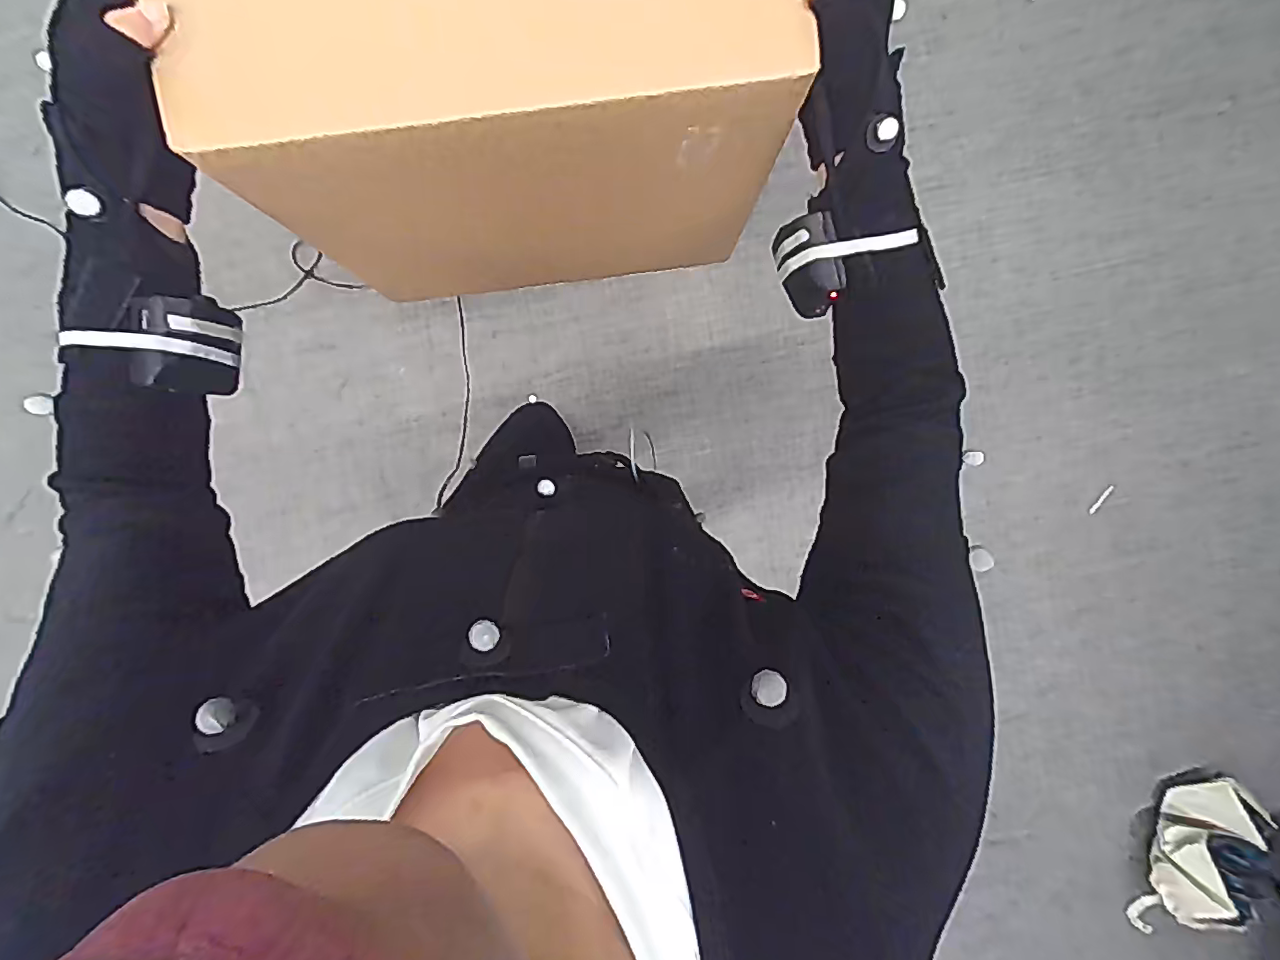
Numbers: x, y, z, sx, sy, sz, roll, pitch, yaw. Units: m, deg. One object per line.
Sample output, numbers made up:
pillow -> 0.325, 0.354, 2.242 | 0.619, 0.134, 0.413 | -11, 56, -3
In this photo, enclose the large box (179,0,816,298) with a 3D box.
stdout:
large box -> -0.108, -0.388, 0.493 | 0.408, 0.320, 0.320 | -8, 92, -2
